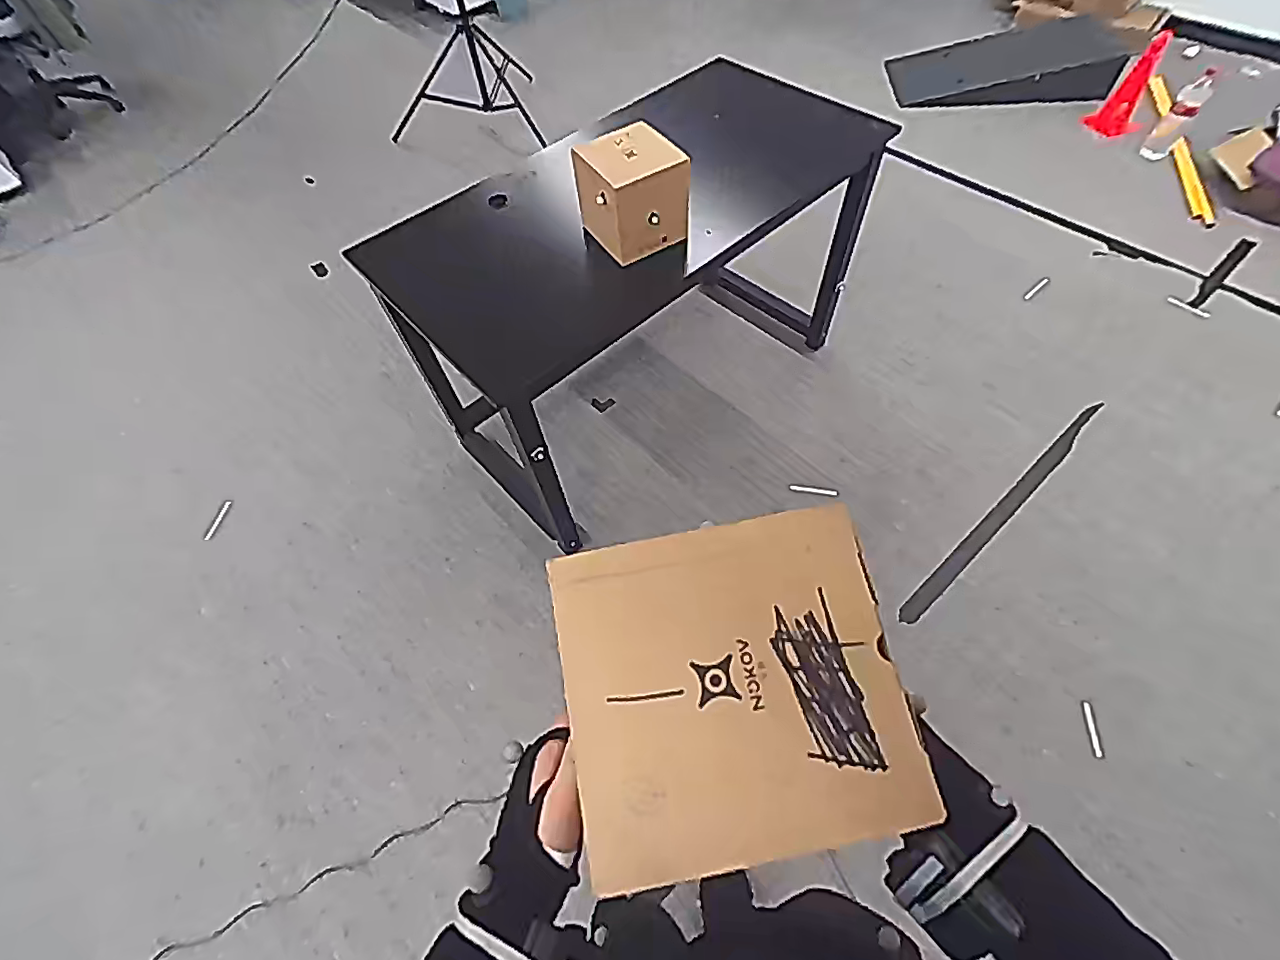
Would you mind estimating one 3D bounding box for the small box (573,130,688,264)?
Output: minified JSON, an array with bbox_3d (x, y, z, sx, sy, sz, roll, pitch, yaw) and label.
[{"bbox_3d":[-0.014,-0.569,1.106,0.168,0.176,0.179,-29,60,-14],"label":"small box"}]
